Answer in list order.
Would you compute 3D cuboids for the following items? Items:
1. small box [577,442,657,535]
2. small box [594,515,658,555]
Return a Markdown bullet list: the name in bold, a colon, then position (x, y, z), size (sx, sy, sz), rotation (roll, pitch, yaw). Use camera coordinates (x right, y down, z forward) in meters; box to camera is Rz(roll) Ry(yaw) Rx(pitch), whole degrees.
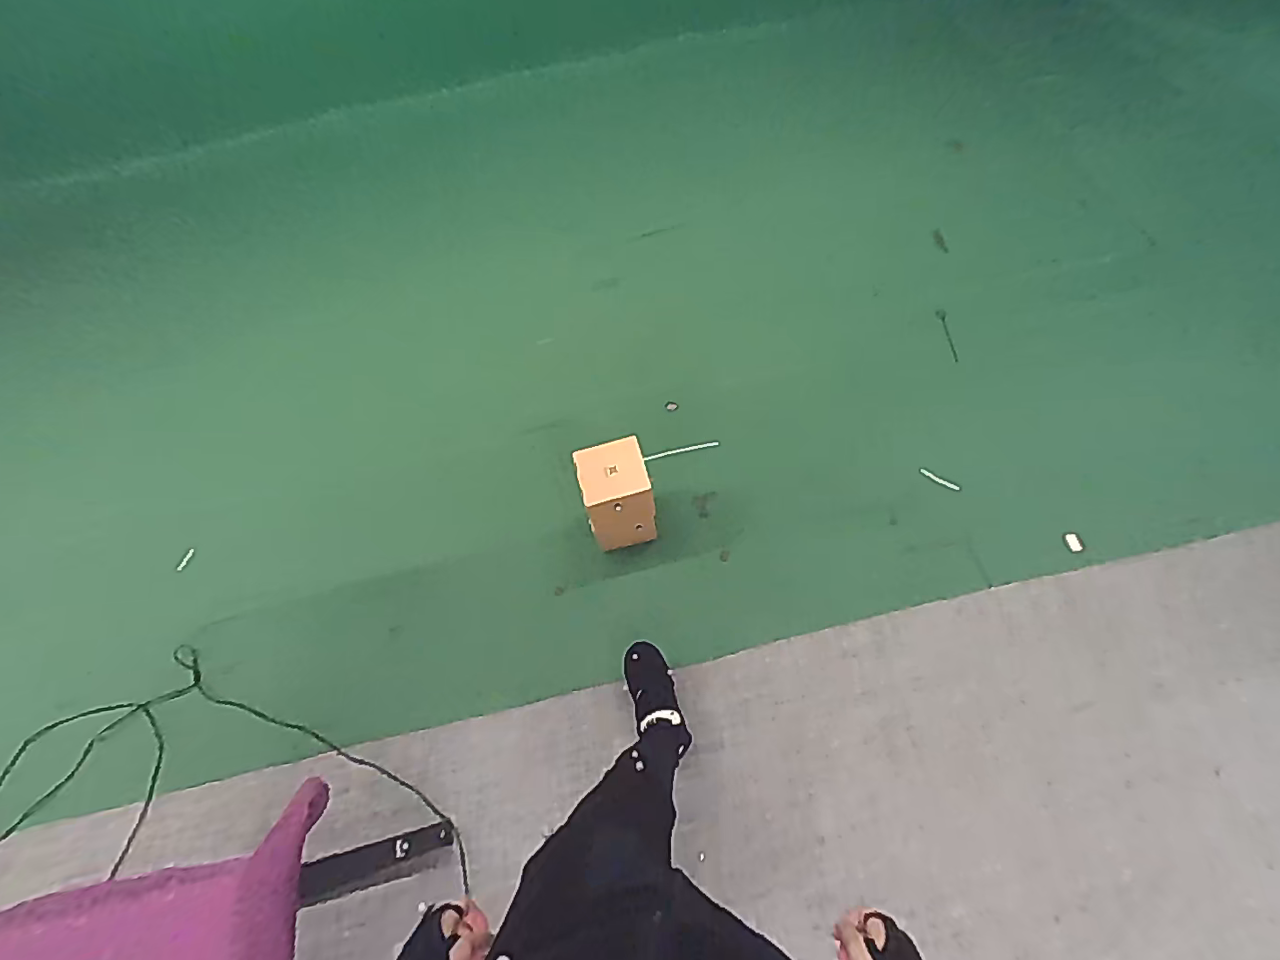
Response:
- **small box**: position (-0.056, 0.027, 1.454), size (0.179, 0.176, 0.168), rotation (-16, 62, -1)
- **small box**: position (-0.046, 0.106, 1.597), size (0.179, 0.176, 0.168), rotation (-14, 62, -1)
